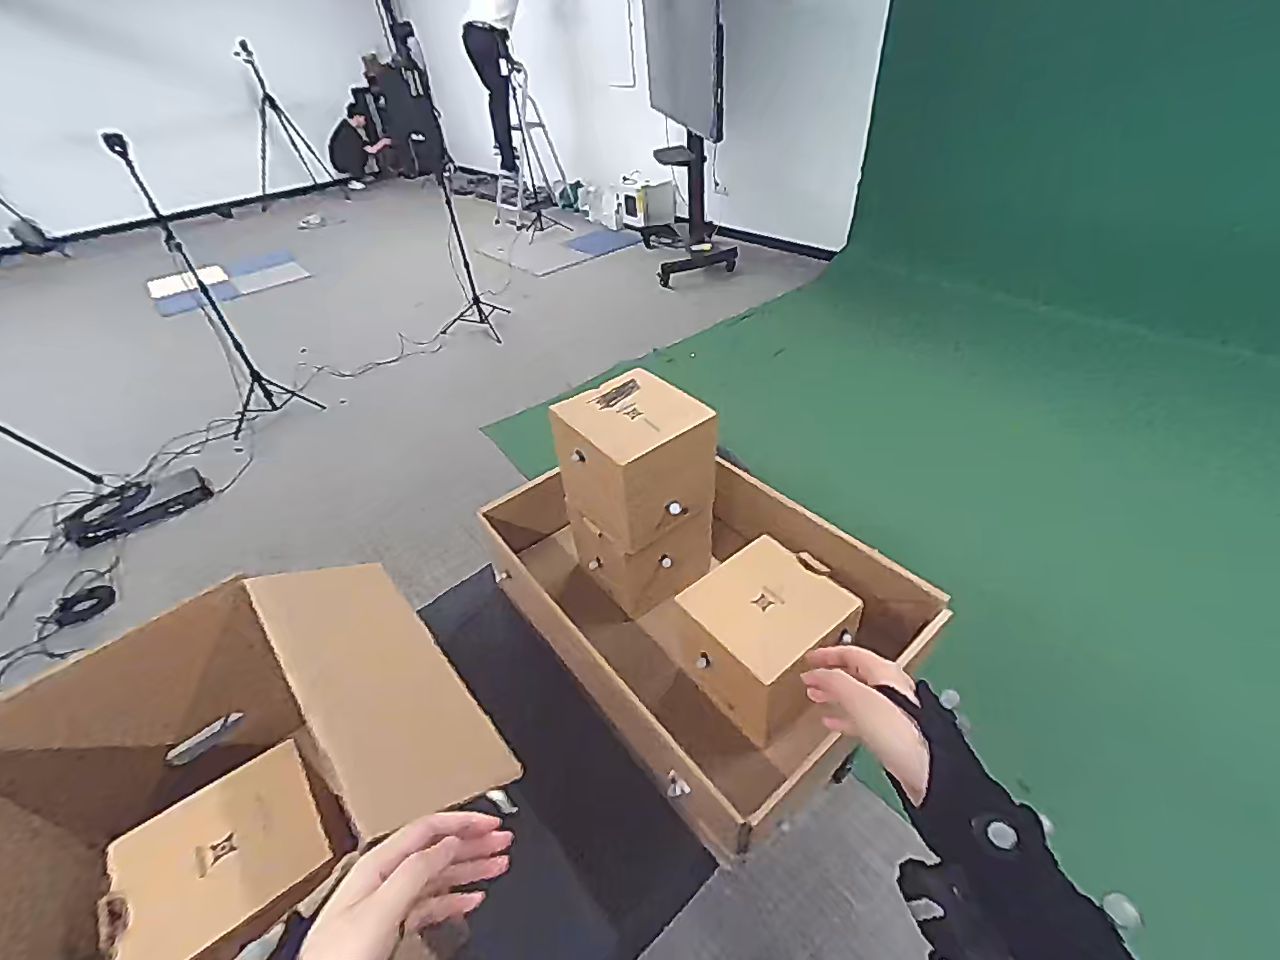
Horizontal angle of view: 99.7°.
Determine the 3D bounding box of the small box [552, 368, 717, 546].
[{"bbox_3d":[-0.007,-0.035,0.797,0.168,0.176,0.179,-30,48,-25],"label":"small box"}]
